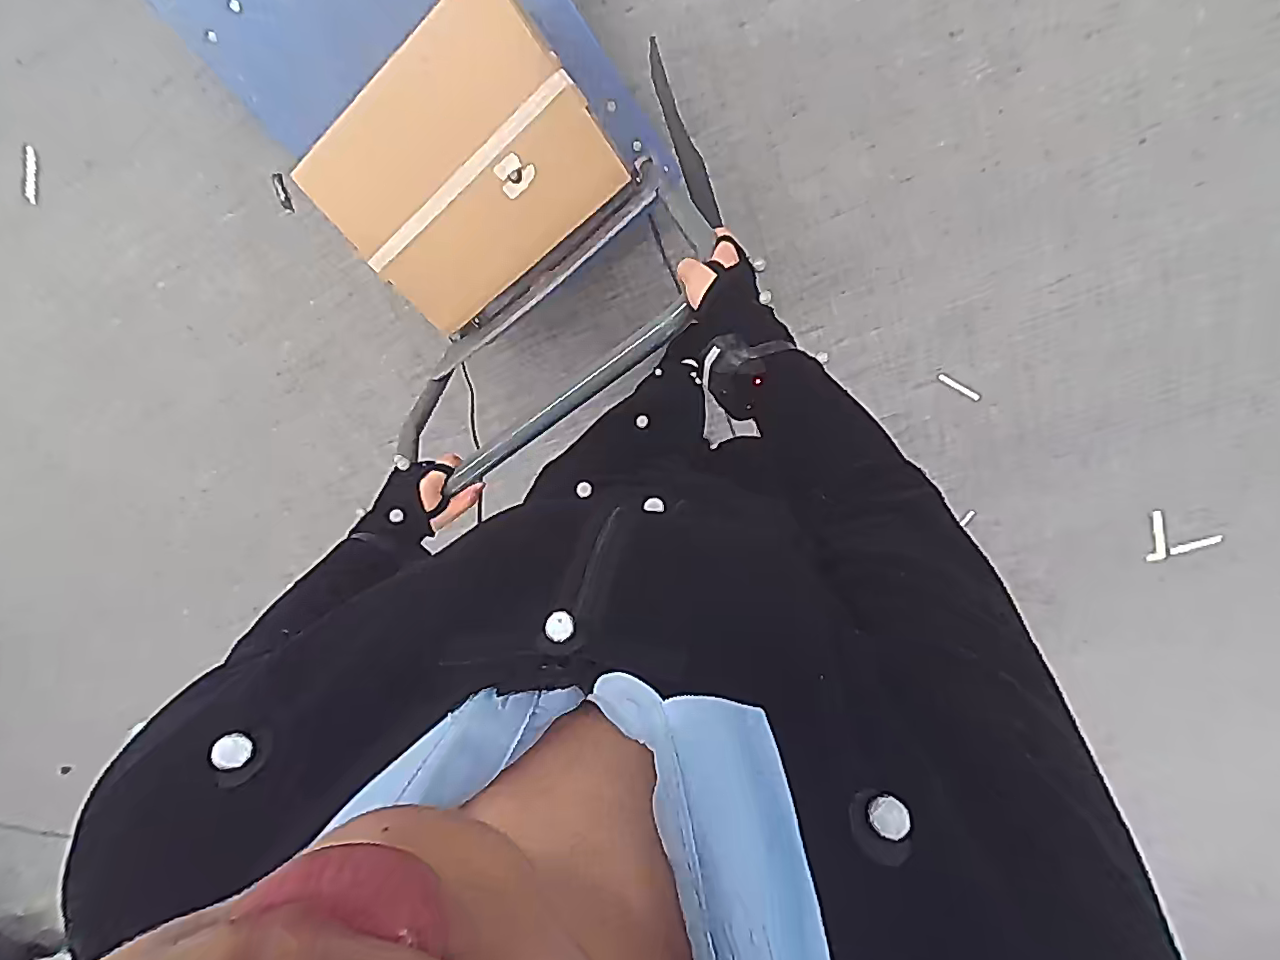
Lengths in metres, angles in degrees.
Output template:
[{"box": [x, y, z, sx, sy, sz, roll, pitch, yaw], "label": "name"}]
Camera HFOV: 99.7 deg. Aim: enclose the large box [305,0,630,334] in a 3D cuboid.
[{"box": [-0.265, -0.533, 0.941, 0.408, 0.320, 0.320, -34, 118, 17], "label": "large box"}]
